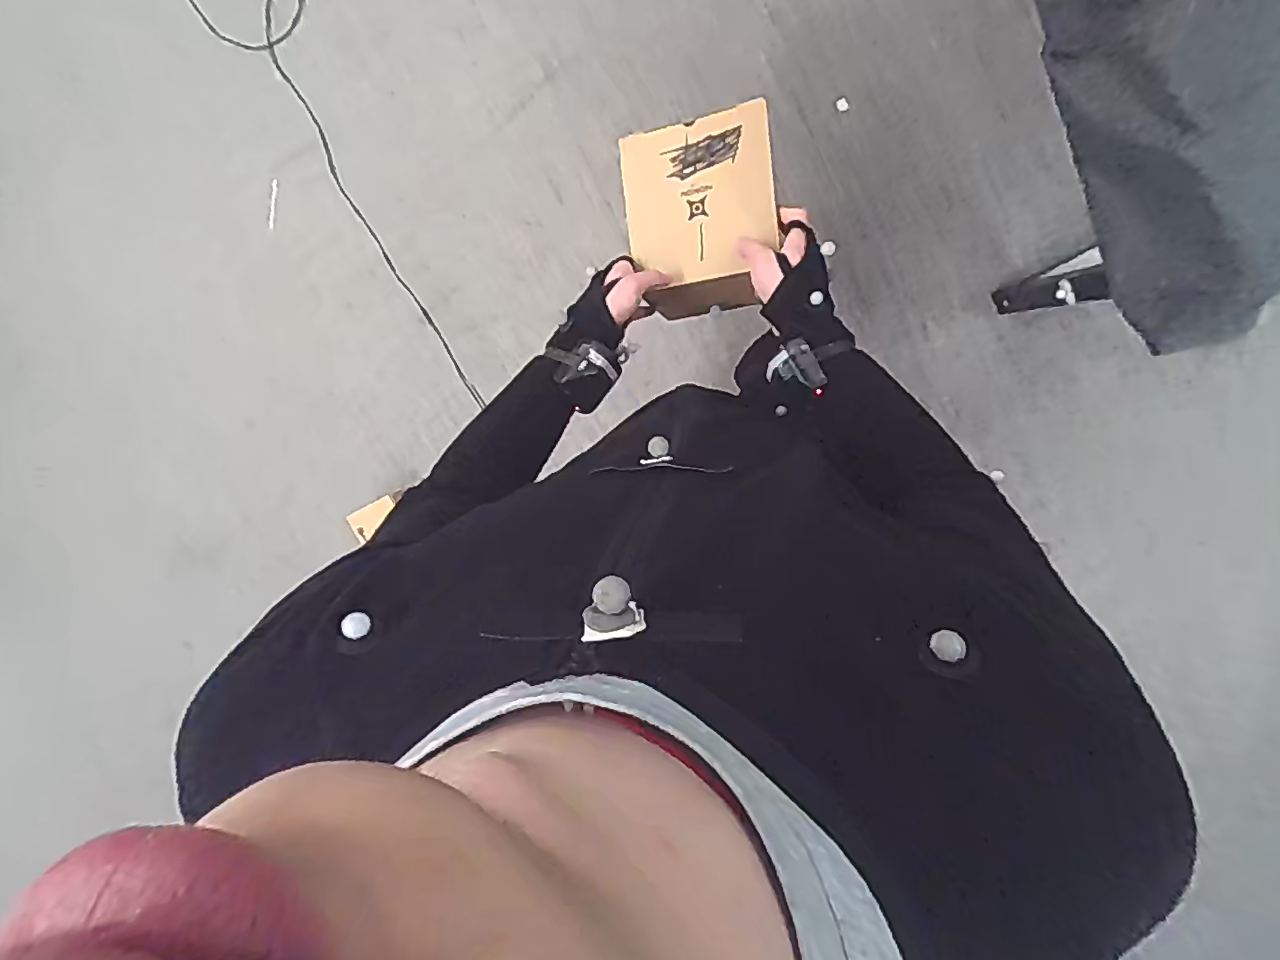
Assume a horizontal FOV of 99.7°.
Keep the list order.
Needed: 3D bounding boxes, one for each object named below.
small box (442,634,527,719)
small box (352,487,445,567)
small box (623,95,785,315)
[{"bbox_3d":[-0.485,0.622,1.729,0.179,0.176,0.168,-26,96,17],"label":"small box"},{"bbox_3d":[-0.729,0.138,1.663,0.179,0.176,0.168,-25,97,15],"label":"small box"},{"bbox_3d":[0.088,-0.320,0.670,0.168,0.176,0.179,-6,94,16],"label":"small box"}]
